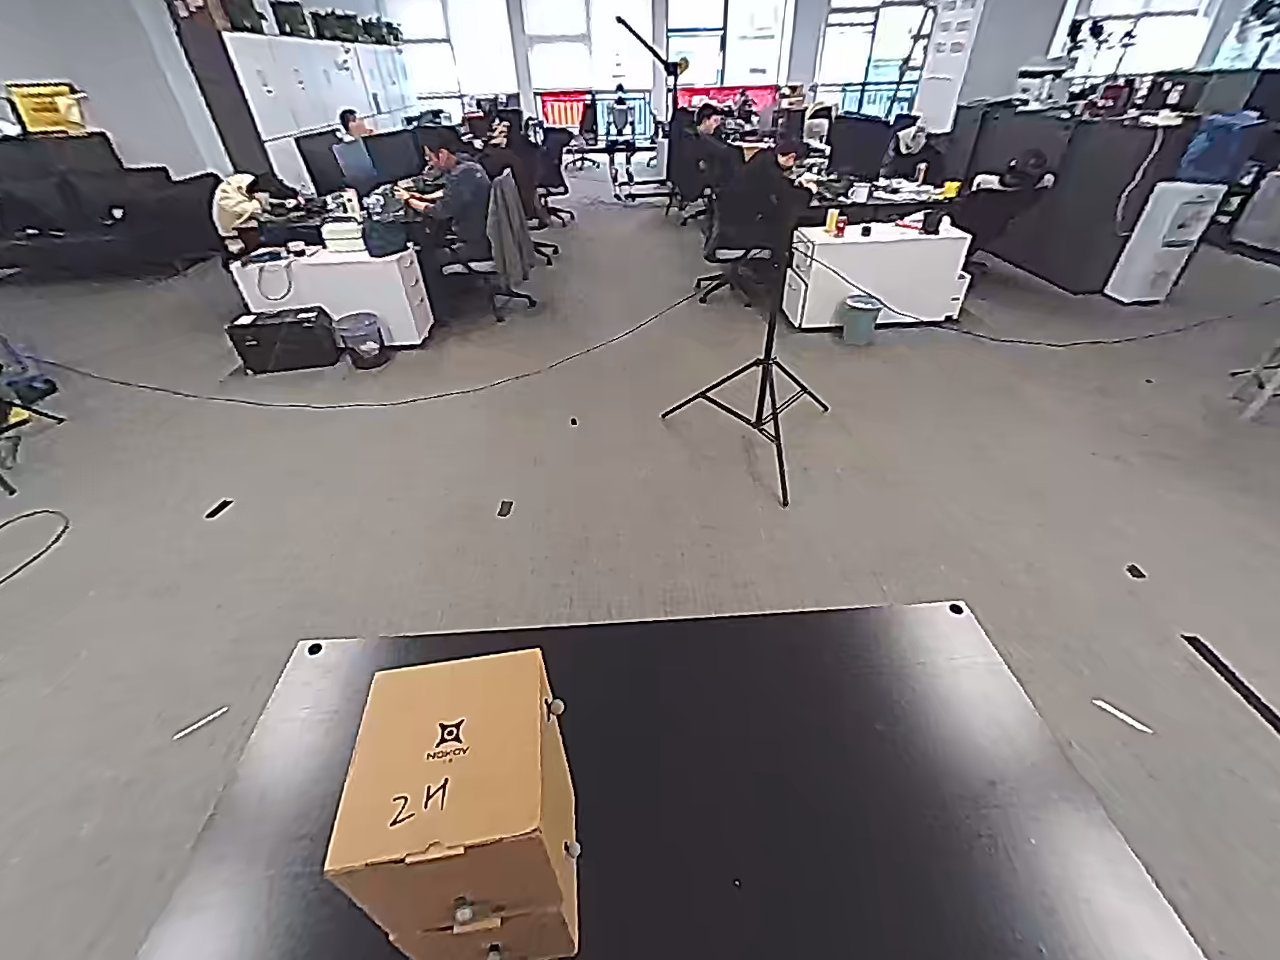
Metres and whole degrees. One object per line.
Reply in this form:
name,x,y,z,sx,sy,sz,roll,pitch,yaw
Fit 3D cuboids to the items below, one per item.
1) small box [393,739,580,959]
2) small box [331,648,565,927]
small box,-0.163,0.433,0.634,0.168,0.176,0.179,-6,38,-5
small box,-0.168,0.299,0.537,0.168,0.176,0.179,-7,37,-6
